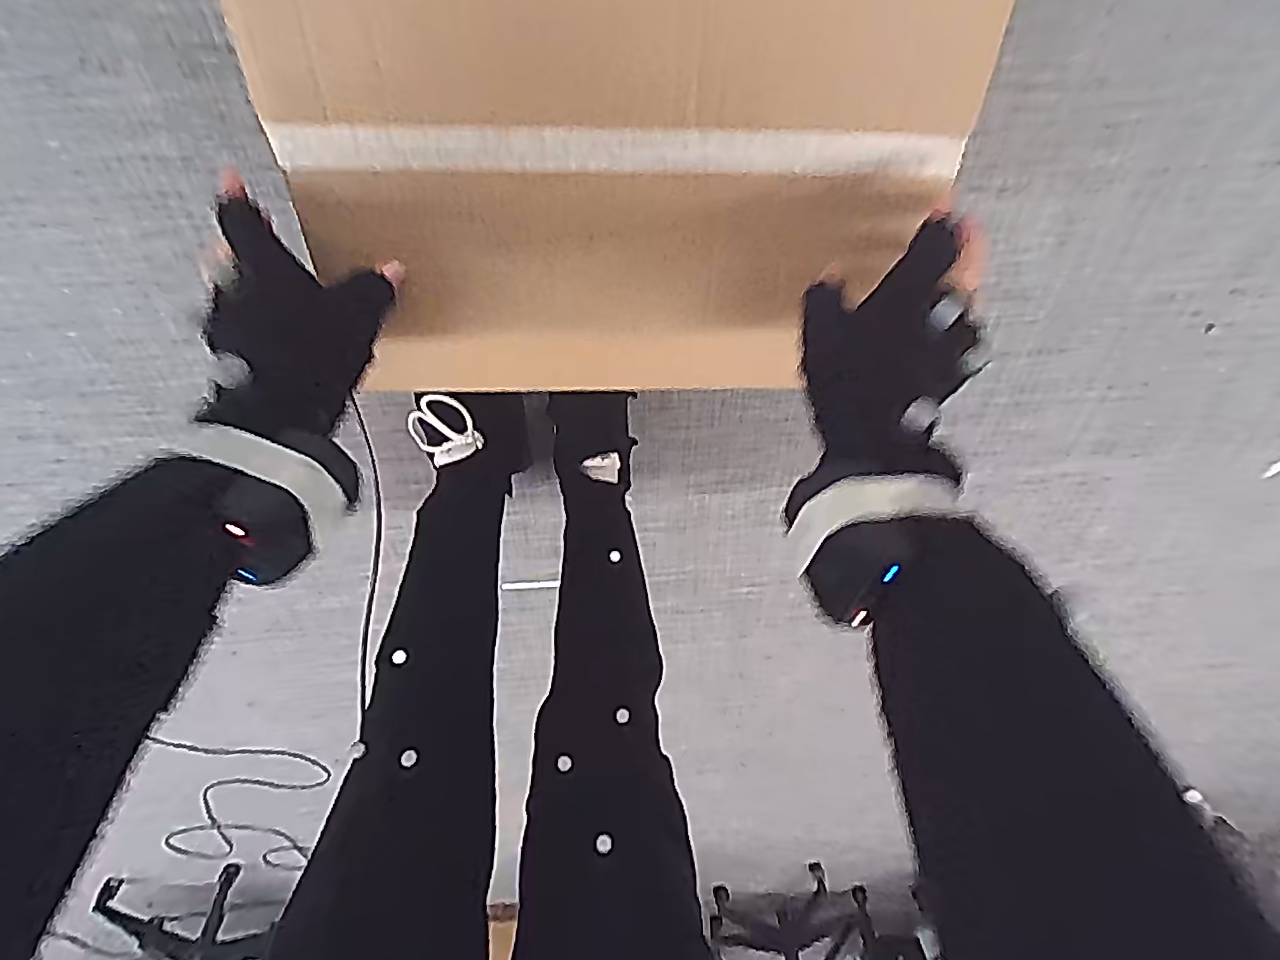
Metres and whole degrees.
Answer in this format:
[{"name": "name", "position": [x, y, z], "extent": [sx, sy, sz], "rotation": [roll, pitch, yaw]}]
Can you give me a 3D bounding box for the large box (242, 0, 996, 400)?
[{"name": "large box", "position": [-0.017, -0.278, 0.450], "extent": [0.408, 0.320, 0.320], "rotation": [-1, 128, -4]}]
